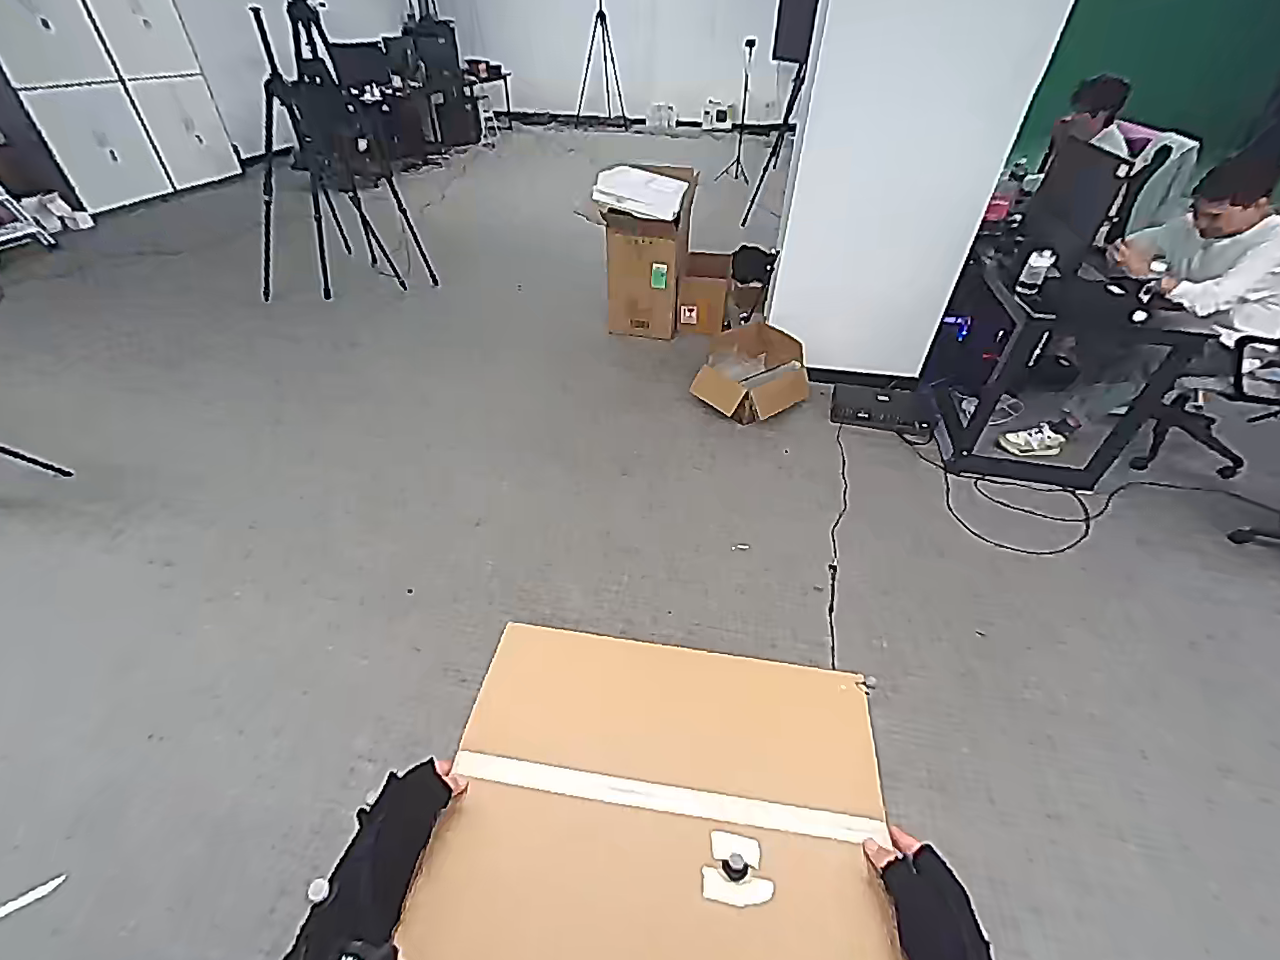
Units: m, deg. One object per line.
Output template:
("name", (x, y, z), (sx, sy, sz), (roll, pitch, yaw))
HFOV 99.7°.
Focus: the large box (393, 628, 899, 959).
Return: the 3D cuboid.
("large box", (0.017, 0.407, 0.609), (0.408, 0.320, 0.320), (8, 43, 5))
